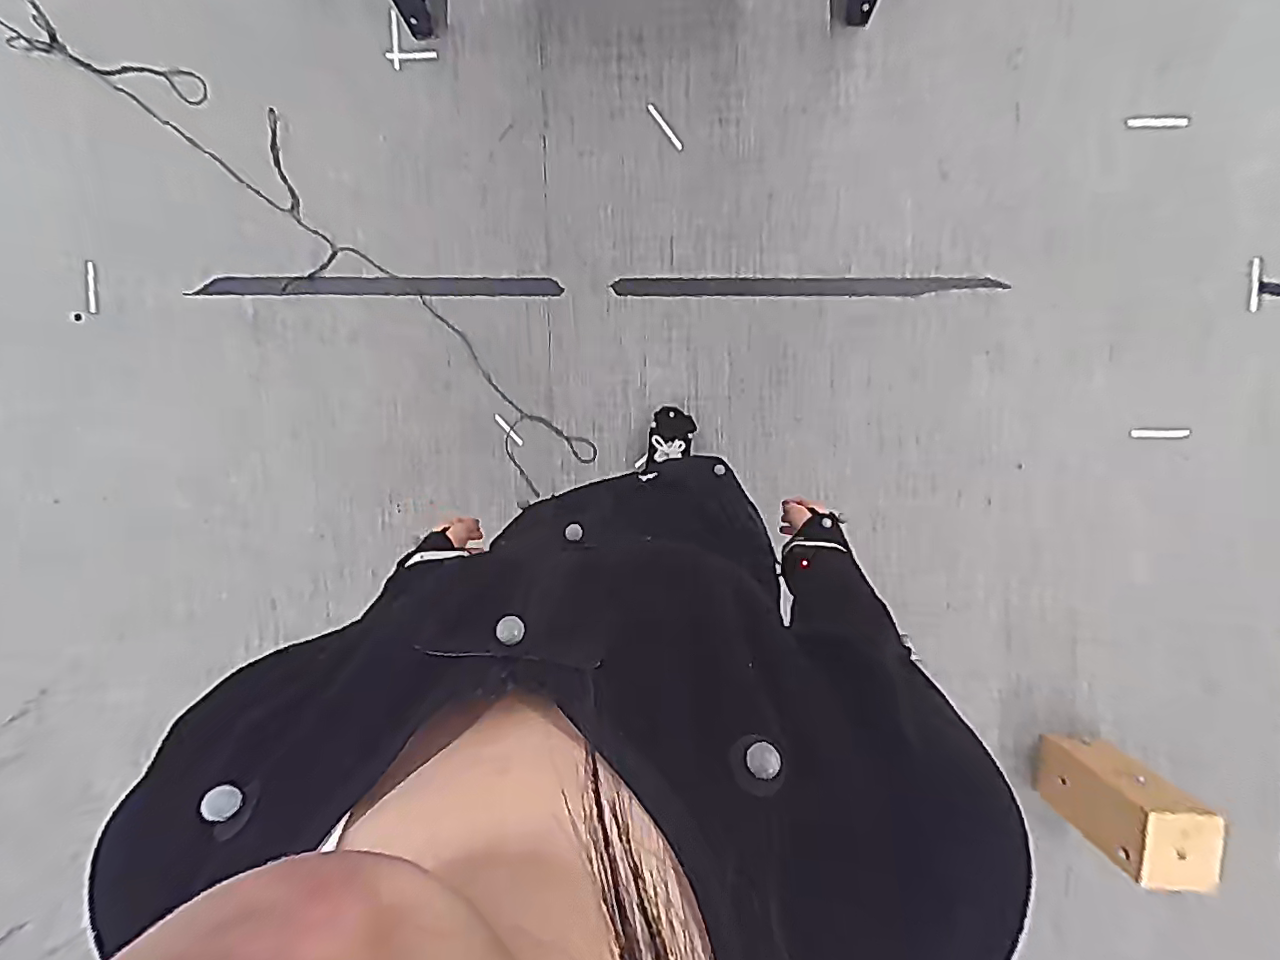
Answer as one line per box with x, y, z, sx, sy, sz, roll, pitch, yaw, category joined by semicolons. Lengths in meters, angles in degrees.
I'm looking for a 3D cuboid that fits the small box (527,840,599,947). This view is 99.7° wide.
-0.206;1.123;1.481;0.168;0.176;0.179;-3;94;2;small box

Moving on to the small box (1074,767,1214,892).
1.166;0.810;1.265;0.168;0.176;0.179;4;93;0;small box
